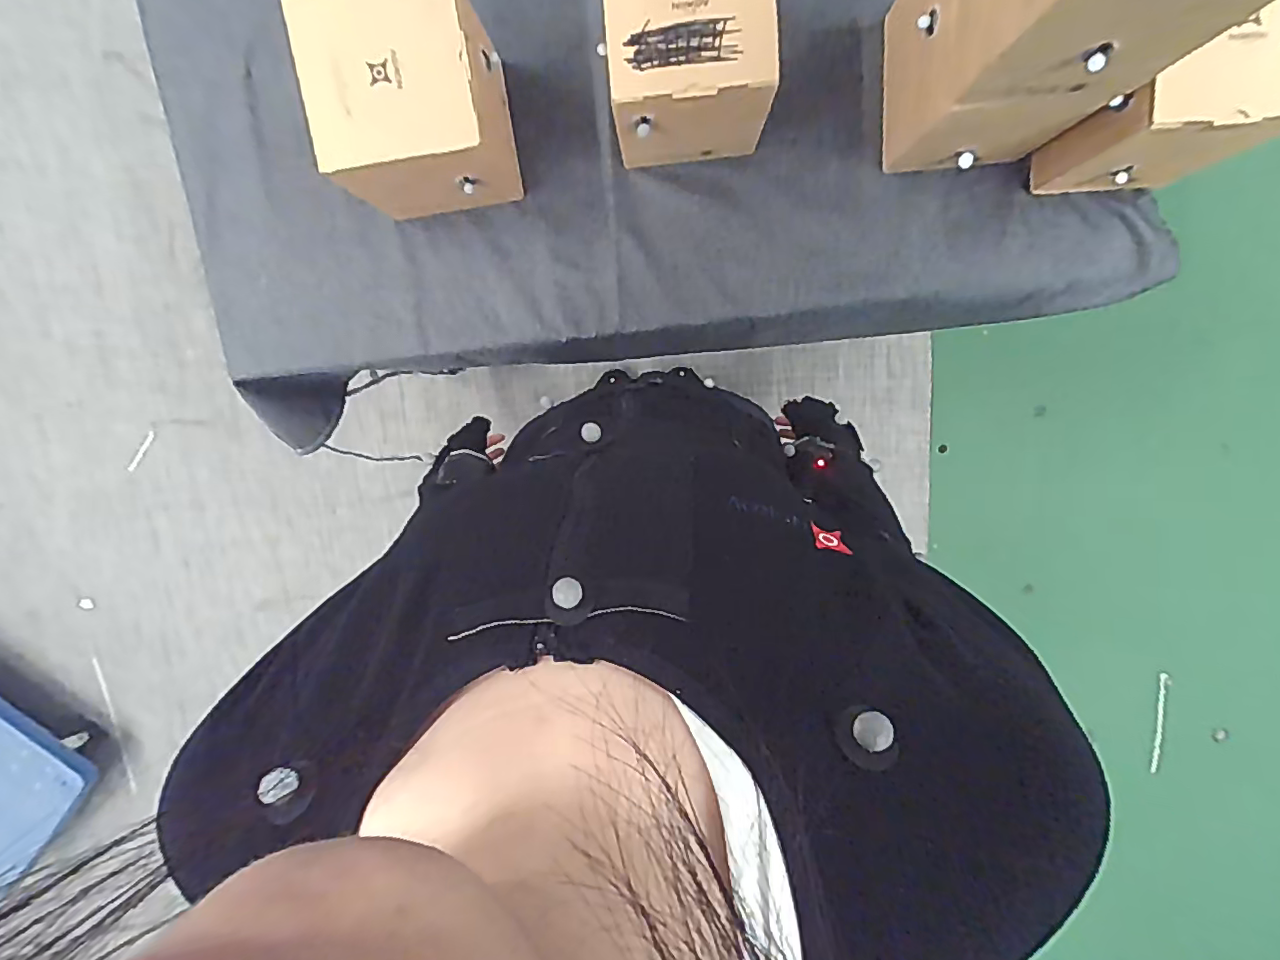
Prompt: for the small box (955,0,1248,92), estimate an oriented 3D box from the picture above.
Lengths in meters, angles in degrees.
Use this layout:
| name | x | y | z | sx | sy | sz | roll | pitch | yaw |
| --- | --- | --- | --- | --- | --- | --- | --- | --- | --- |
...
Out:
| name | x | y | z | sx | sy | sz | roll | pitch | yaw |
| --- | --- | --- | --- | --- | --- | --- | --- | --- | --- |
| small box | 0.372 | -0.433 | 0.419 | 0.168 | 0.176 | 0.179 | -2 | 100 | 3 |
